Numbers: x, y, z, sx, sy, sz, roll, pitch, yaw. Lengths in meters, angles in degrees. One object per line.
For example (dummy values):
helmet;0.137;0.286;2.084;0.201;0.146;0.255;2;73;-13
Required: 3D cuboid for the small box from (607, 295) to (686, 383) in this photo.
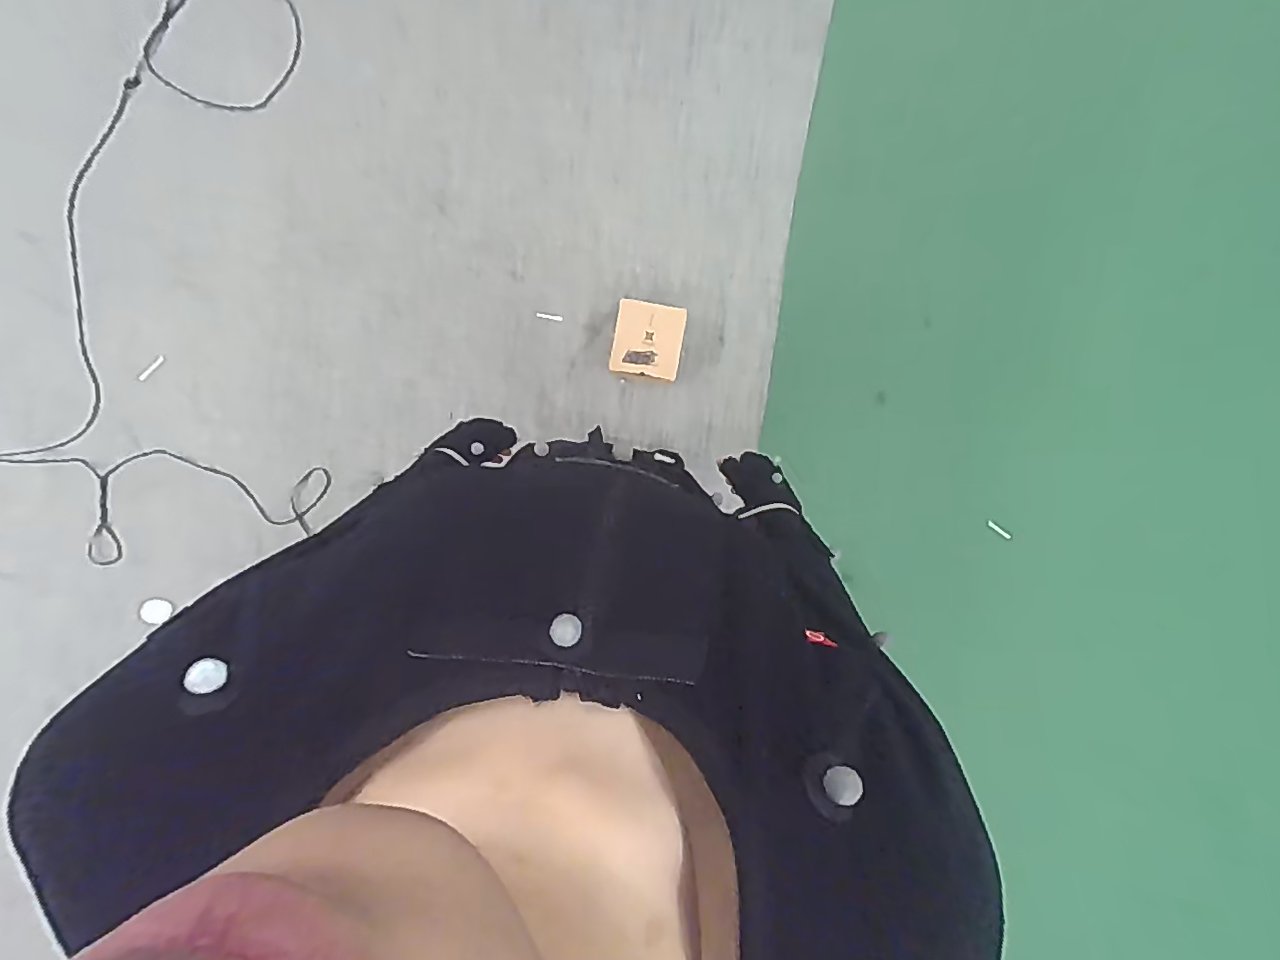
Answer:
small box;0.017;-0.348;1.371;0.168;0.176;0.179;10;94;-1
